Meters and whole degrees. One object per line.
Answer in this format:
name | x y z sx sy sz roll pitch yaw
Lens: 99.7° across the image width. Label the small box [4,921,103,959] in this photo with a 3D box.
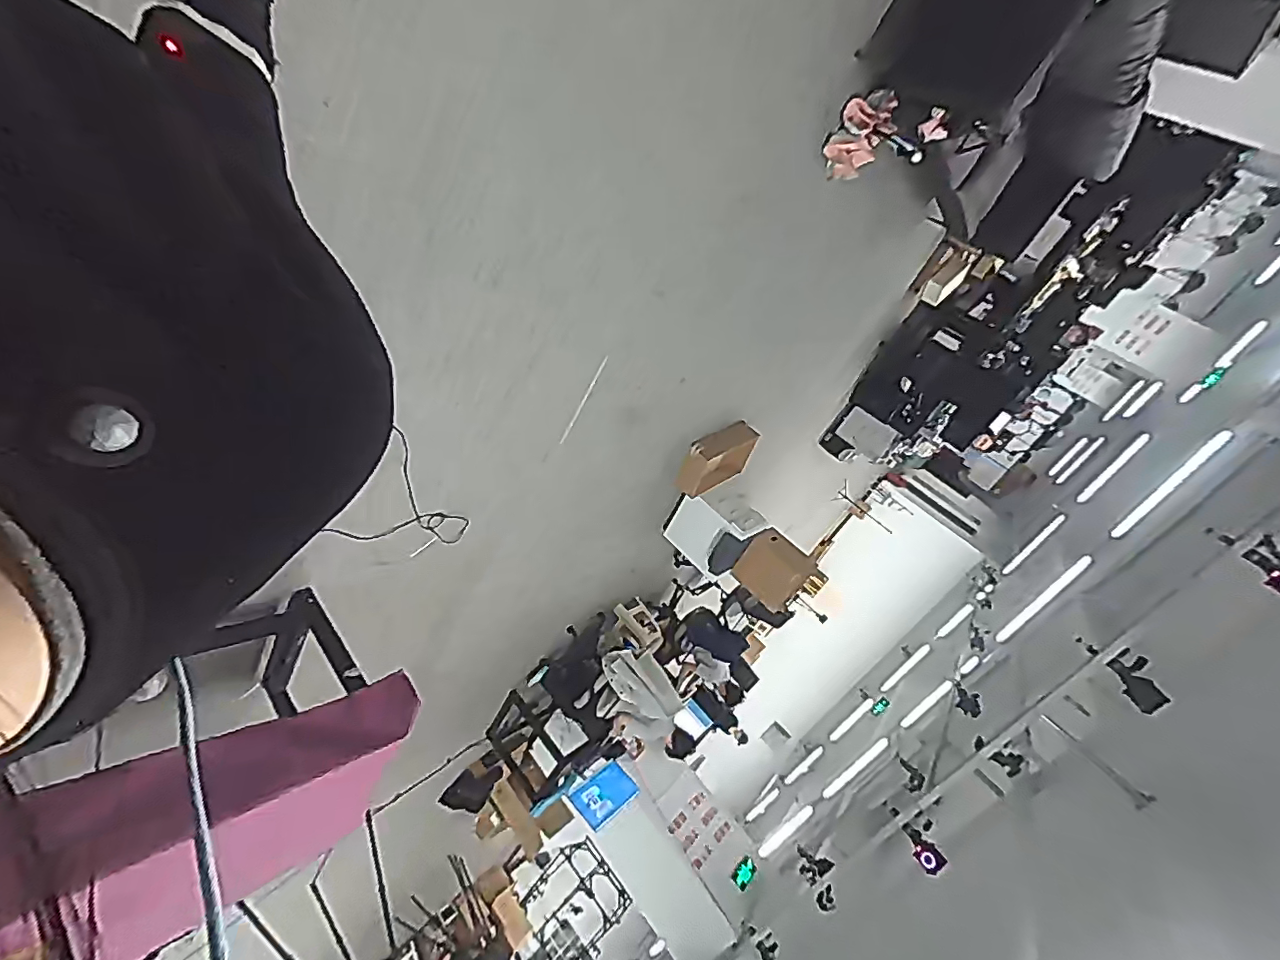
small box | -1.293 1.115 1.169 0.168 0.176 0.179 -3 131 -57
